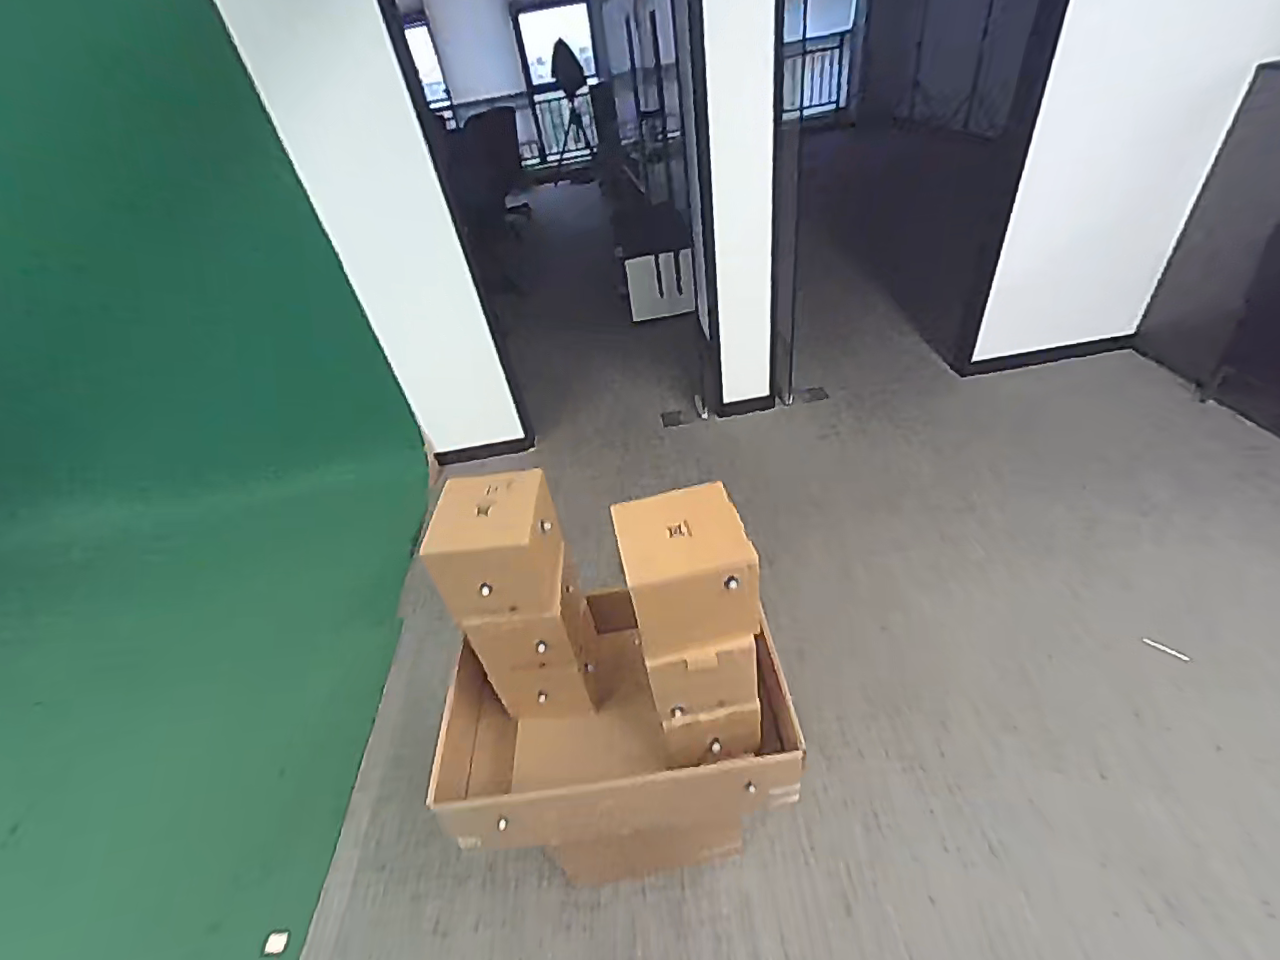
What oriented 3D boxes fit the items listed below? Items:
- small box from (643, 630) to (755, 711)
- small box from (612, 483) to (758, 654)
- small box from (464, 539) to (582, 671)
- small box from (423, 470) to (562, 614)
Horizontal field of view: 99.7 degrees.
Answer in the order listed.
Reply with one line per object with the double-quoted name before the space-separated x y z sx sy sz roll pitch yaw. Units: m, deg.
"small box" 0.091 0.262 0.899 0.168 0.176 0.179 -11 40 -1
"small box" 0.067 0.133 0.803 0.179 0.176 0.168 -13 39 -4
"small box" -0.204 0.236 0.999 0.168 0.176 0.179 -7 39 2
"small box" -0.230 0.108 0.898 0.168 0.176 0.179 -5 40 3
